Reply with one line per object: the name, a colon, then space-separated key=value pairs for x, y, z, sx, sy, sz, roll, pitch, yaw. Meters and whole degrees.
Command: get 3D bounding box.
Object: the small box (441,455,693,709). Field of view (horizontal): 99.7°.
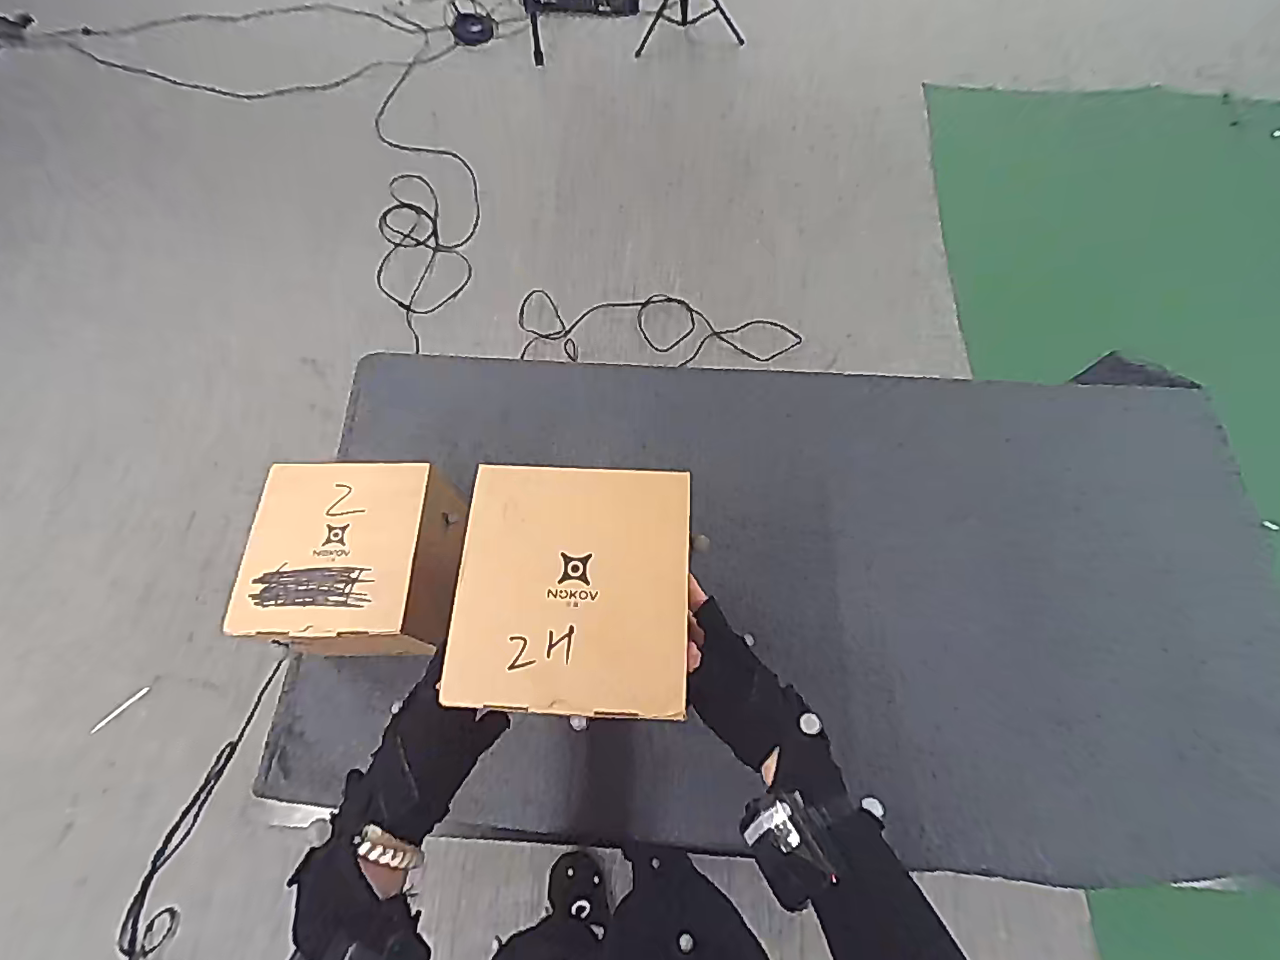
small box: x=-0.045 y=0.095 z=0.462 sx=0.168 sy=0.176 sz=0.179 roll=3 pitch=68 yaw=3
